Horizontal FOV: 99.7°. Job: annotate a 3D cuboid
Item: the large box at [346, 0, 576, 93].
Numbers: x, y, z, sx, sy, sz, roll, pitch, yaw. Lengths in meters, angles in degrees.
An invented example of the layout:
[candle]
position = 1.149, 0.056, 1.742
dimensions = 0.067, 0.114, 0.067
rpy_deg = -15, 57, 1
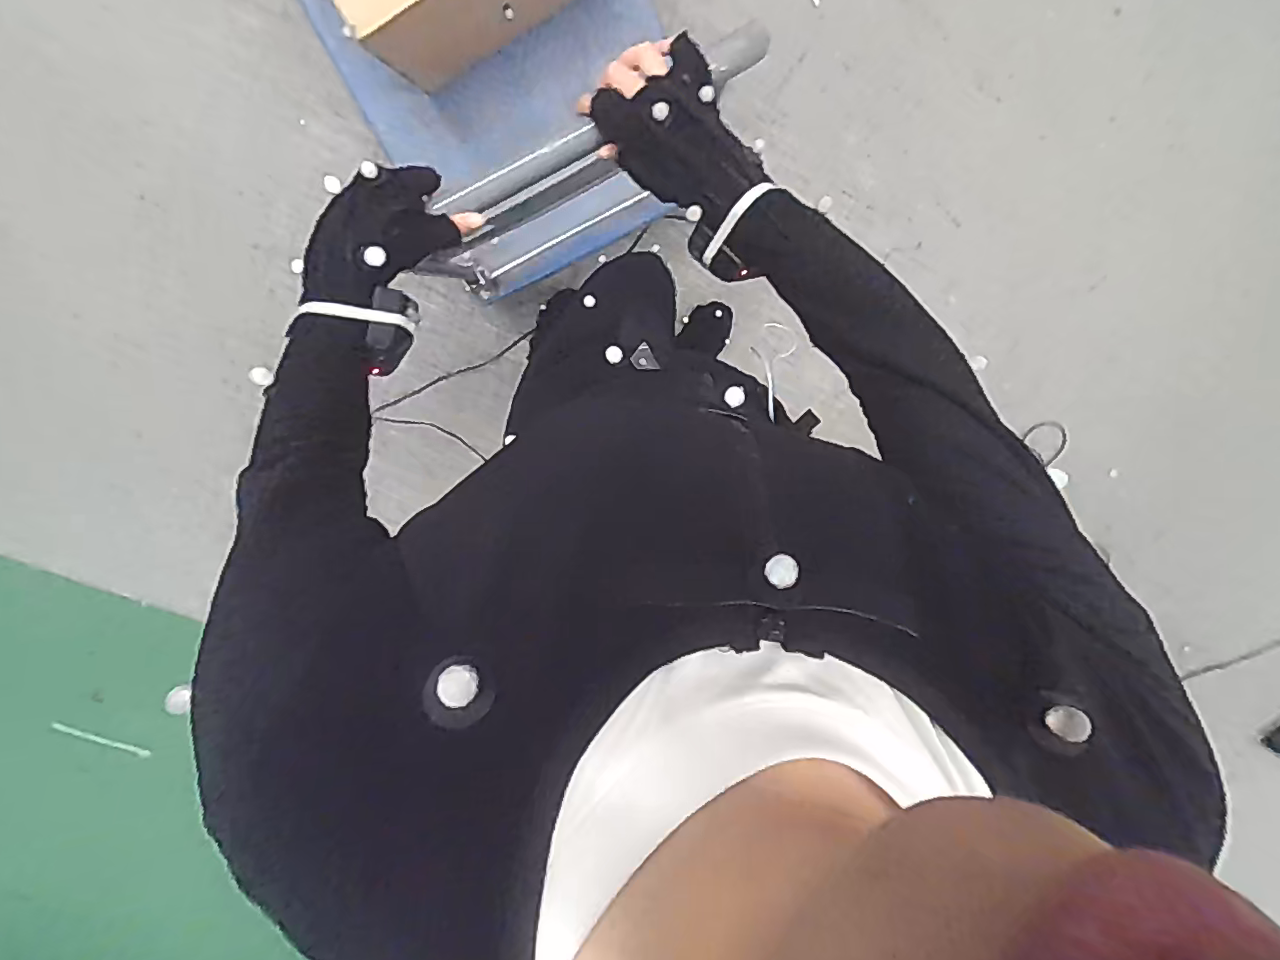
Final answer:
[large box]
position = -0.274, -0.880, 0.806
dimensions = 0.408, 0.320, 0.320
rpy_deg = -26, 111, 11
